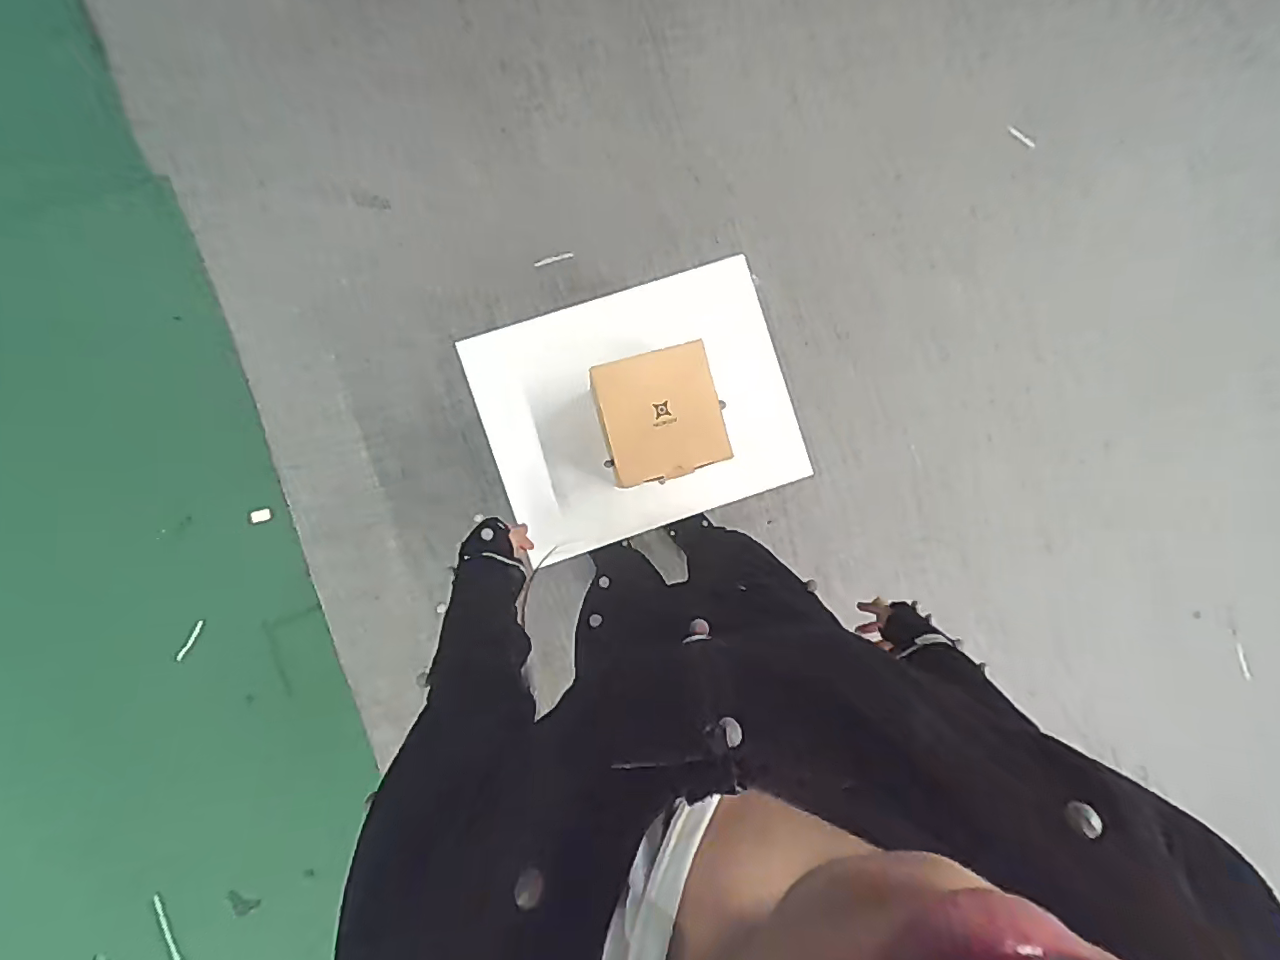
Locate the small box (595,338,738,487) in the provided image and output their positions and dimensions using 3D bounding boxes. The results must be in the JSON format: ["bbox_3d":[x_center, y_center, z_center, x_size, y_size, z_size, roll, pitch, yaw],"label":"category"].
[{"bbox_3d":[0.030,-0.092,0.821,0.168,0.176,0.179,-16,92,-4],"label":"small box"}]
